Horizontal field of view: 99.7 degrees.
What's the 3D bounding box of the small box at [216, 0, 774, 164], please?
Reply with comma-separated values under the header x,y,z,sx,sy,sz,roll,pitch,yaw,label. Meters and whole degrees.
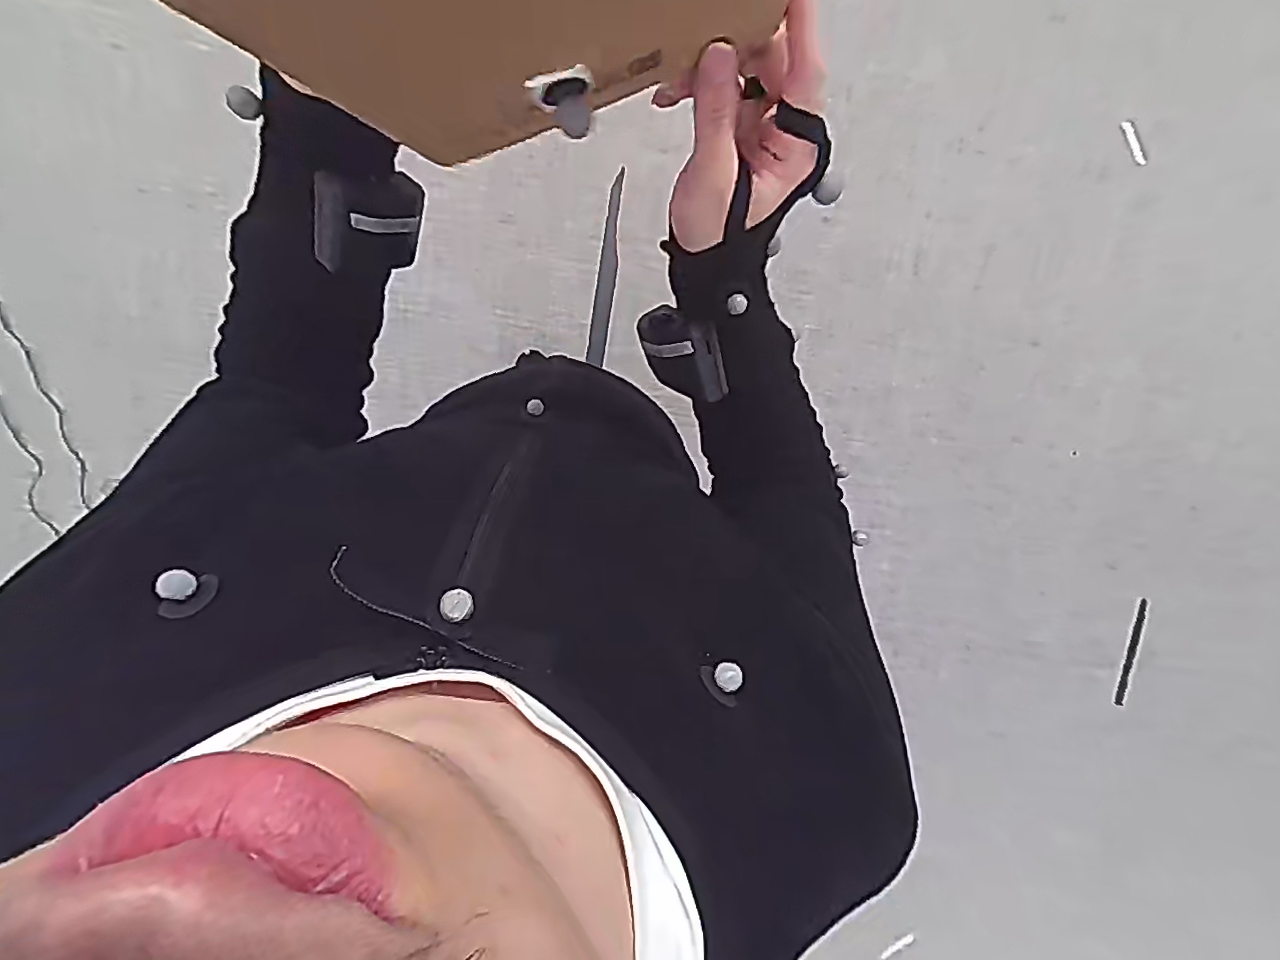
x,y,z,sx,sy,sz,roll,pitch,yaw,label
-0.052,-0.236,0.165,0.168,0.176,0.179,-18,104,13,small box
